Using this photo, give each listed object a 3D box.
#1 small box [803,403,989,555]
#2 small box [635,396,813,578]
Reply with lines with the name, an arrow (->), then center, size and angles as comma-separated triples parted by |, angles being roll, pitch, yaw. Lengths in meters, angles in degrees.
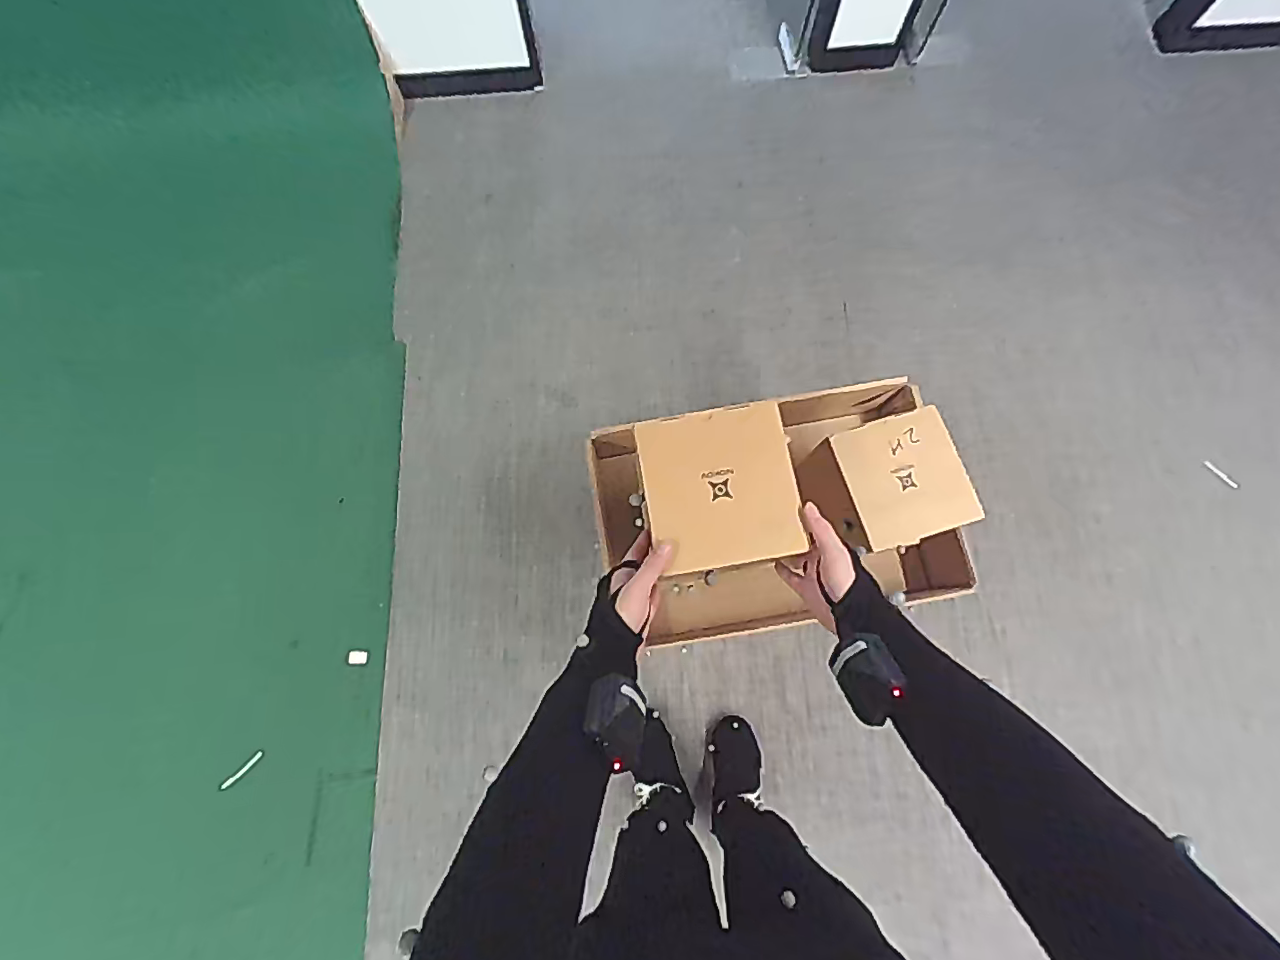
small box -> 0.369, 0.010, 0.815 | 0.168, 0.176, 0.179 | -16, 77, -3
small box -> 0.091, 0.020, 0.653 | 0.168, 0.176, 0.179 | -9, 75, 0
